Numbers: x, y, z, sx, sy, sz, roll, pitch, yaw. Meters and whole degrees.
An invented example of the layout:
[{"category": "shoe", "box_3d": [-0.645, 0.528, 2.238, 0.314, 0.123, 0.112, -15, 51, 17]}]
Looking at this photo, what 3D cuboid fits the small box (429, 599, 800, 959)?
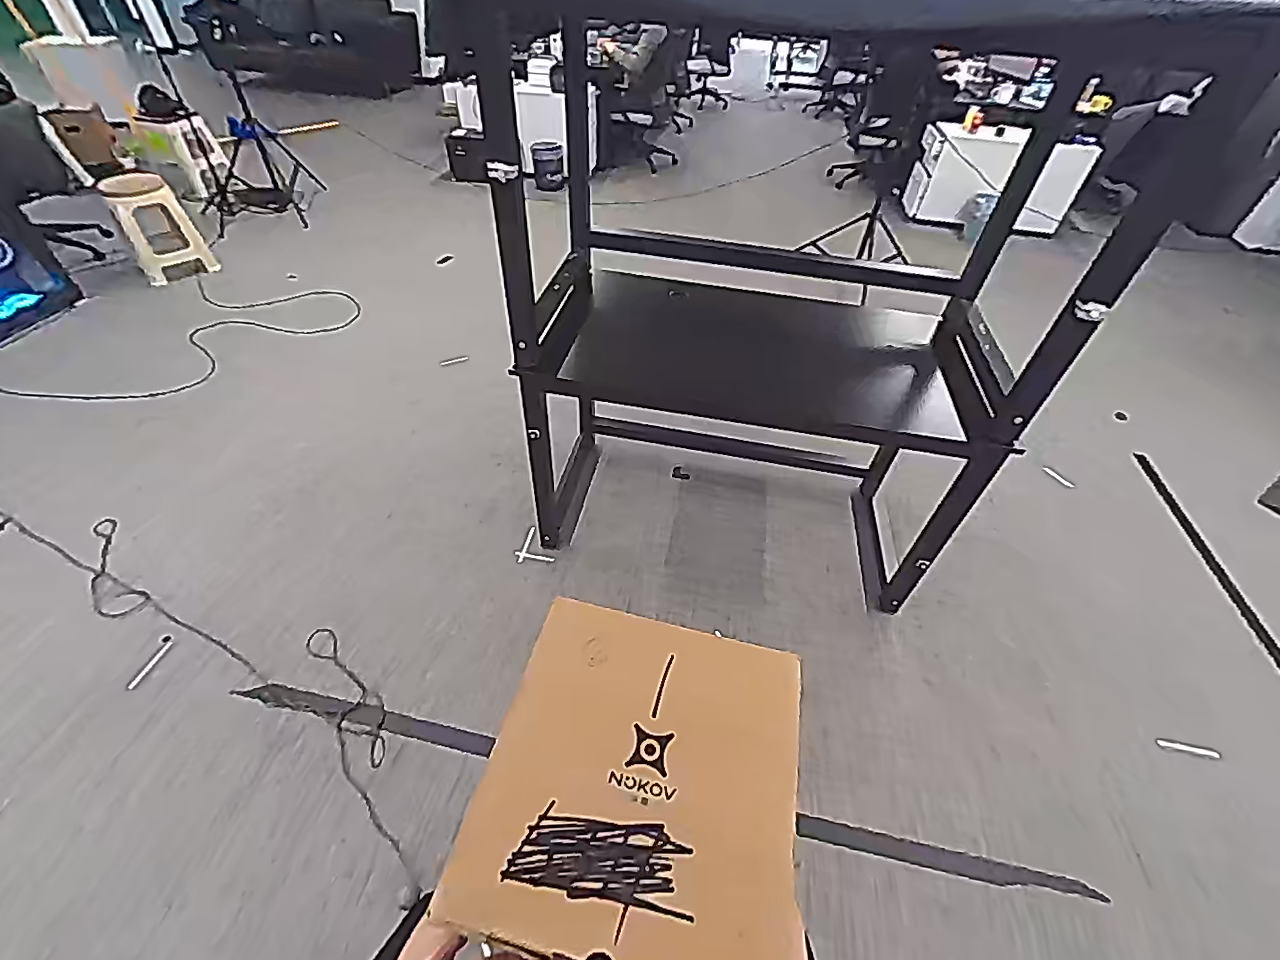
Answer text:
[{"category": "small box", "box_3d": [-0.002, 0.211, 0.350, 0.168, 0.176, 0.179, 12, 46, 7]}]
